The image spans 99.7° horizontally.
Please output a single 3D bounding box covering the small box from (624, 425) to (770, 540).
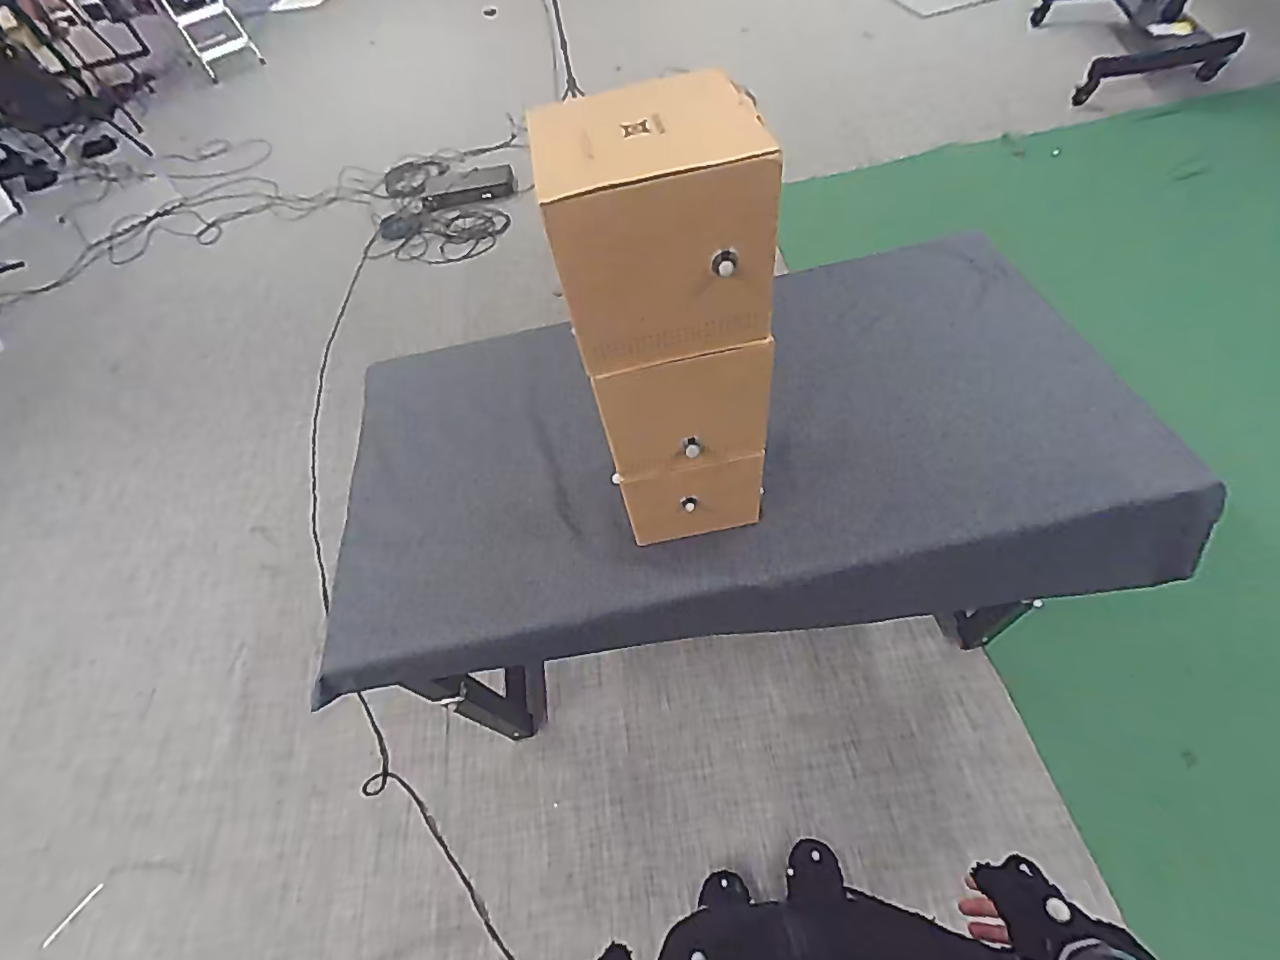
[{"bbox_3d":[0.063,-0.038,0.747,0.179,0.176,0.168,-13,56,-1],"label":"small box"}]

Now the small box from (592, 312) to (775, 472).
[{"bbox_3d":[0.040,-0.130,0.615,0.179,0.176,0.168,-11,55,1],"label":"small box"}]

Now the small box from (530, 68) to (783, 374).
[{"bbox_3d":[0.013,-0.222,0.483,0.179,0.176,0.168,-13,55,2],"label":"small box"}]
